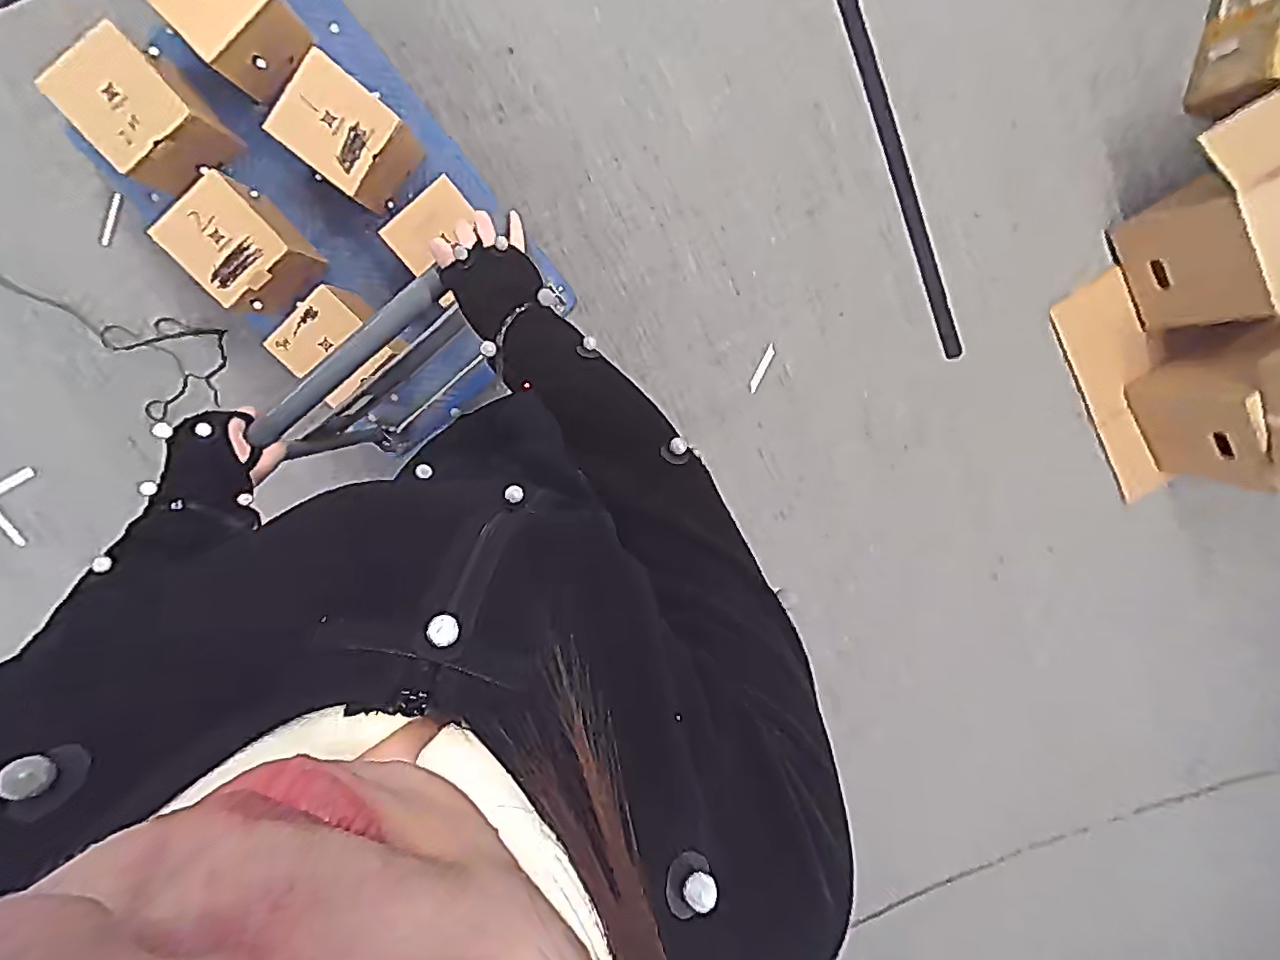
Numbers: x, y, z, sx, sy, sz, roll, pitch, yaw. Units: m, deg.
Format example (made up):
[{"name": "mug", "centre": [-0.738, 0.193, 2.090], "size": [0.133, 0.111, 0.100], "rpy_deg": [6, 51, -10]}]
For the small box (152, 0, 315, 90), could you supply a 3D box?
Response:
[{"name": "small box", "centre": [-0.727, -0.838, 0.955], "size": [0.168, 0.176, 0.179], "rpy_deg": [-43, 104, 5]}]

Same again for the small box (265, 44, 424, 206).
[{"name": "small box", "centre": [-0.543, -0.649, 1.023], "size": [0.179, 0.176, 0.168], "rpy_deg": [37, 97, -13]}]

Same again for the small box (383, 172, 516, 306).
[{"name": "small box", "centre": [-0.369, -0.470, 1.089], "size": [0.168, 0.176, 0.179], "rpy_deg": [-40, 105, 3]}]

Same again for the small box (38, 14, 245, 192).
[{"name": "small box", "centre": [-0.881, -0.662, 0.978], "size": [0.168, 0.176, 0.179], "rpy_deg": [-38, 106, 3]}]

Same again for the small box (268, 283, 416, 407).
[{"name": "small box", "centre": [-0.594, -0.275, 1.107], "size": [0.168, 0.176, 0.179], "rpy_deg": [-43, 105, 4]}]
